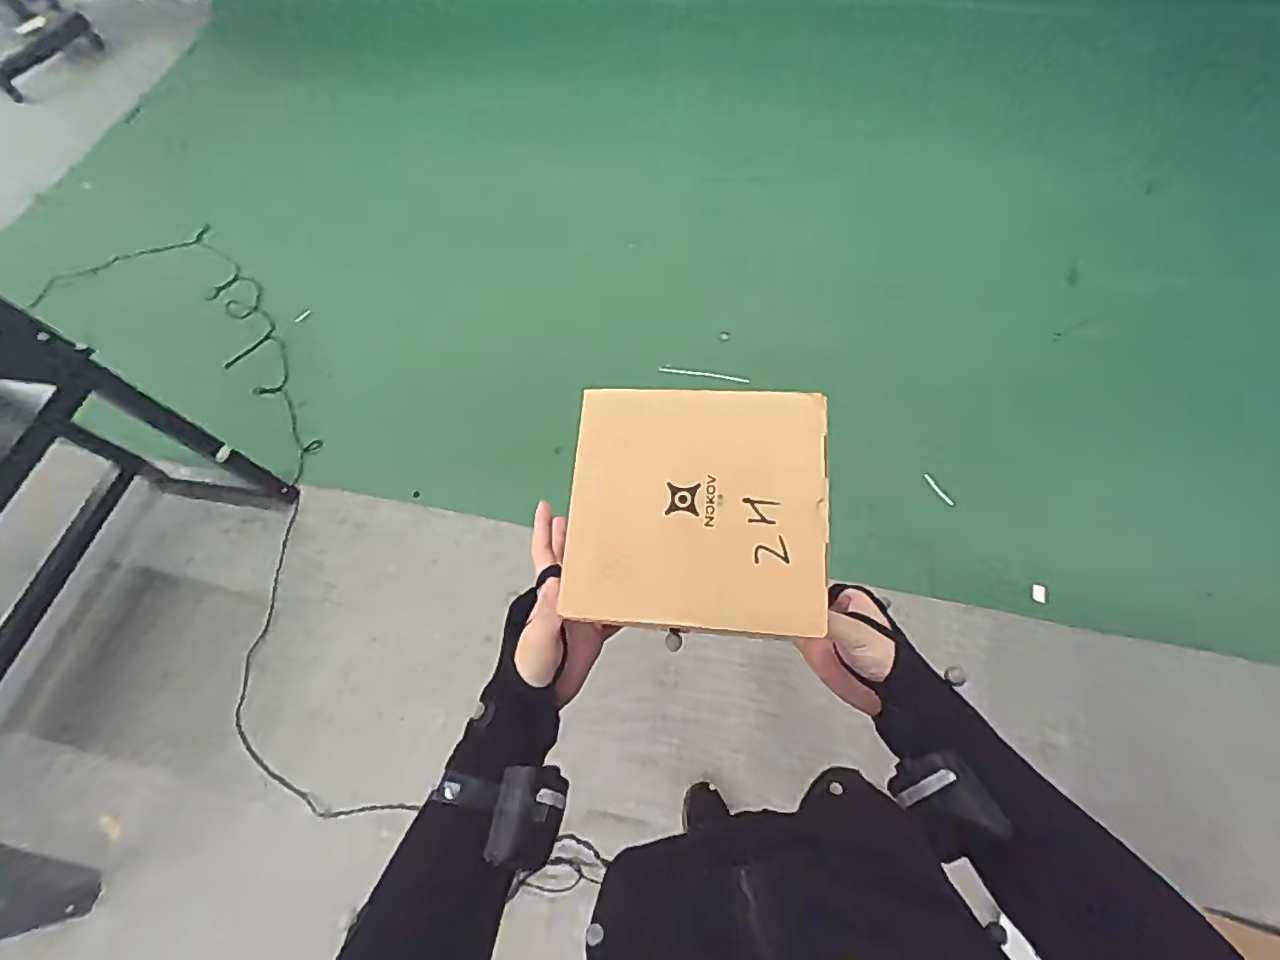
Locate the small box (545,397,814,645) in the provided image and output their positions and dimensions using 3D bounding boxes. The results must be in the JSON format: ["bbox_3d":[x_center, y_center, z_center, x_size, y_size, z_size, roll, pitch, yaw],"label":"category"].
[{"bbox_3d":[0.041,0.043,0.444,0.179,0.176,0.168,2,74,9],"label":"small box"}]
